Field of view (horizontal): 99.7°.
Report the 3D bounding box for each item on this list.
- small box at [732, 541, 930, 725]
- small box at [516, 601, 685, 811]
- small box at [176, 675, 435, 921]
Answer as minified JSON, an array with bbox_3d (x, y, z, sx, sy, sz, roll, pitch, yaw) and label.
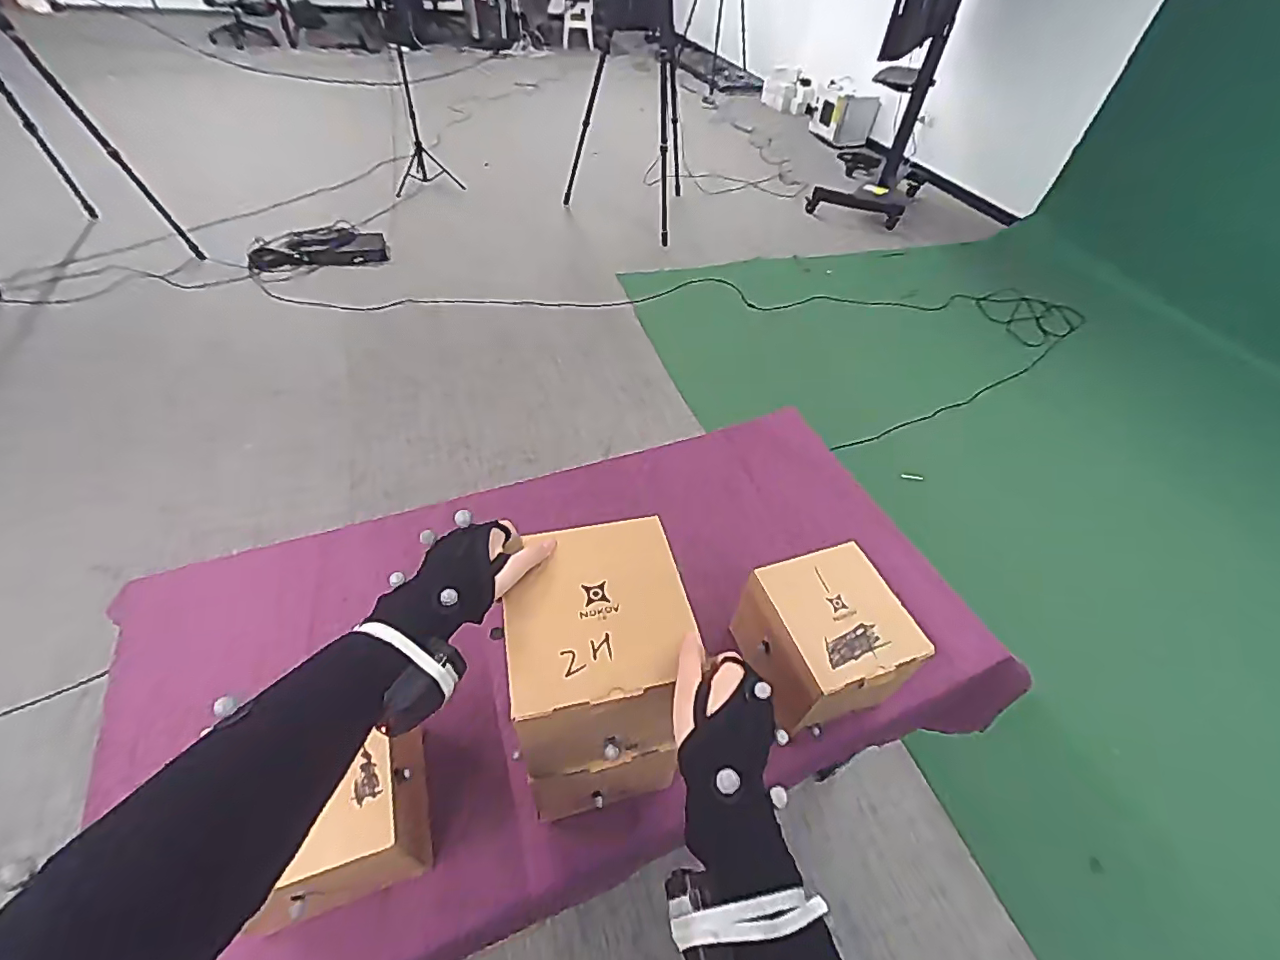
[{"bbox_3d":[0.247,0.217,0.747,0.168,0.176,0.179,-12,50,-16],"label":"small box"},{"bbox_3d":[-0.058,0.277,0.666,0.168,0.176,0.179,-8,51,-13],"label":"small box"},{"bbox_3d":[-0.335,0.341,0.579,0.179,0.176,0.168,-13,52,-15],"label":"small box"}]
